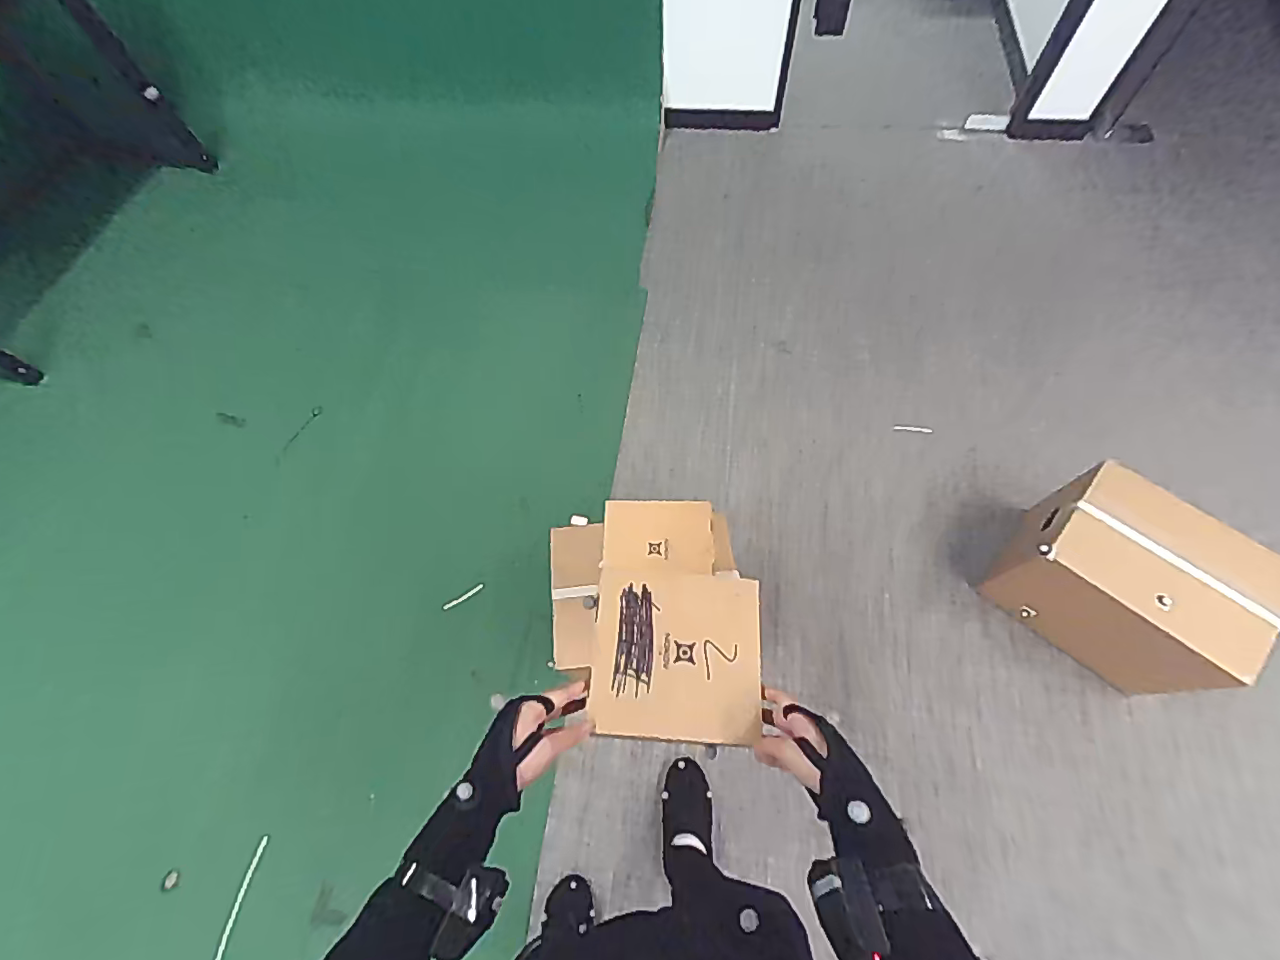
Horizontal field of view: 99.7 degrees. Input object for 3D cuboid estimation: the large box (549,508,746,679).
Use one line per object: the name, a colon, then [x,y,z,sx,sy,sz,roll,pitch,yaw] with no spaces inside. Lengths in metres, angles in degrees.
large box: [0.015,0.285,1.296,0.408,0.320,0.320,-6,64,1]

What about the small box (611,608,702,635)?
small box: [0.034,0.206,1.060,0.168,0.176,0.179,0,65,2]

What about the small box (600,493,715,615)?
small box: [0.032,0.131,0.917,0.179,0.176,0.168,0,65,2]
